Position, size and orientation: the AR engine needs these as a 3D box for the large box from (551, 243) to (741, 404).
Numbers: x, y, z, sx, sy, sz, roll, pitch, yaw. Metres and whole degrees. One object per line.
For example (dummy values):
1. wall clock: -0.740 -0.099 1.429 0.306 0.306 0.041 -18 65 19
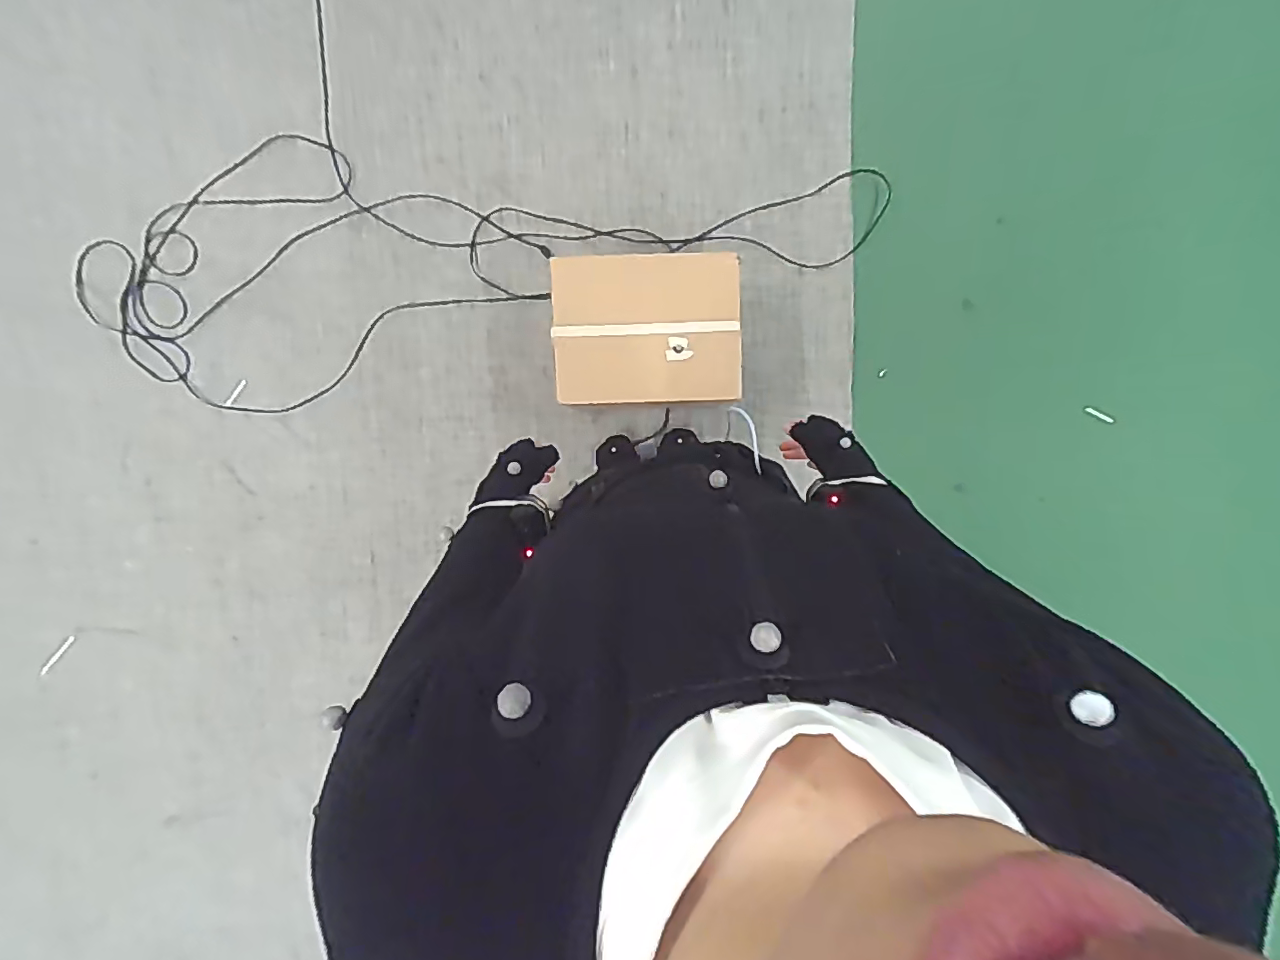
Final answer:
1. large box: 0.011 -0.354 1.303 0.408 0.320 0.320 -2 96 -1
